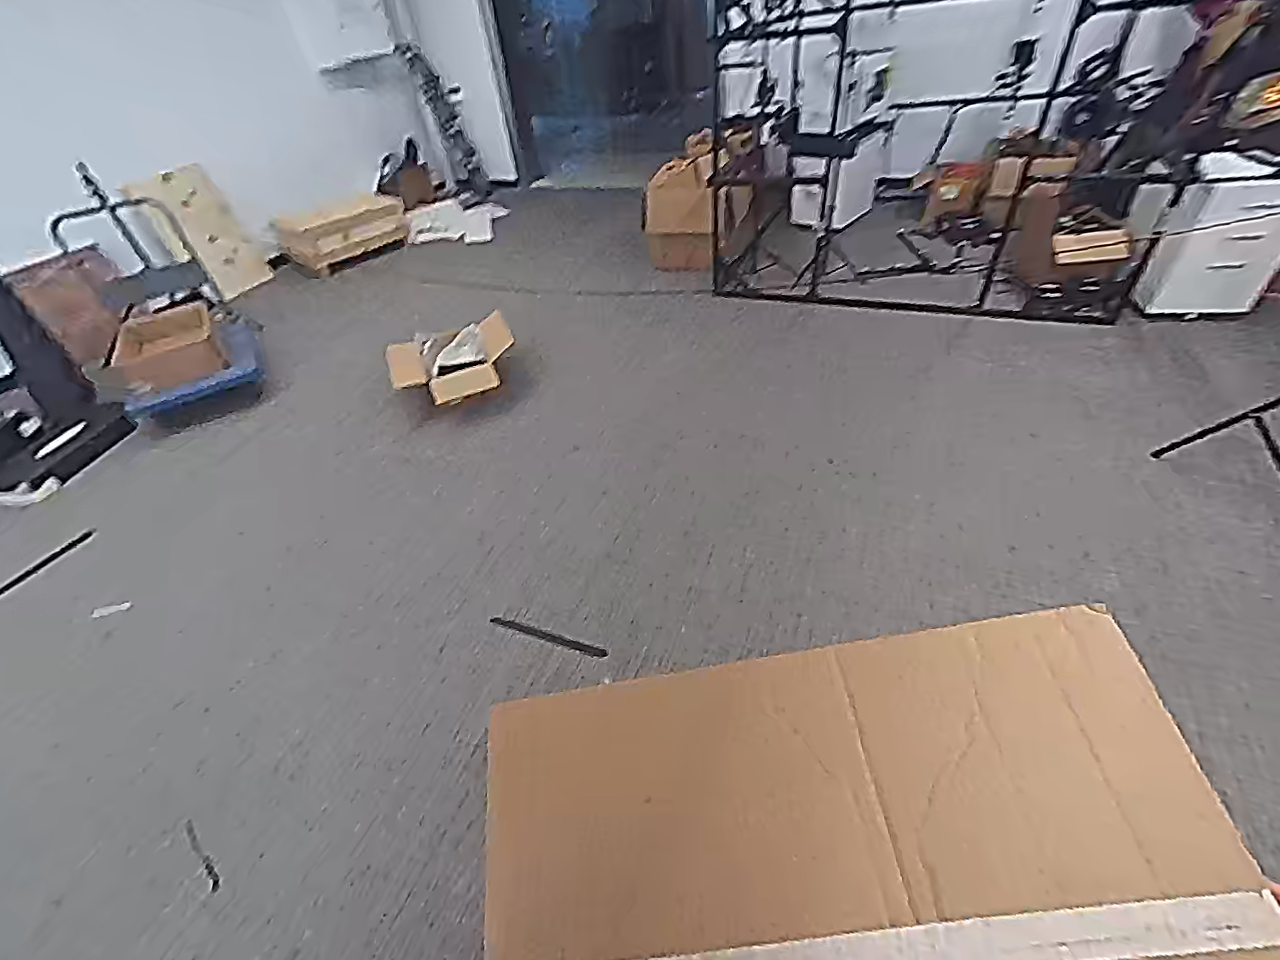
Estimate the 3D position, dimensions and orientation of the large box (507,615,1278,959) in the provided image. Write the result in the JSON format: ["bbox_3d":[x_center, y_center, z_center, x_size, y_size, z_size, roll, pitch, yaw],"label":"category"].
[{"bbox_3d":[0.145,0.331,0.422,0.408,0.320,0.320,-12,61,6],"label":"large box"}]
